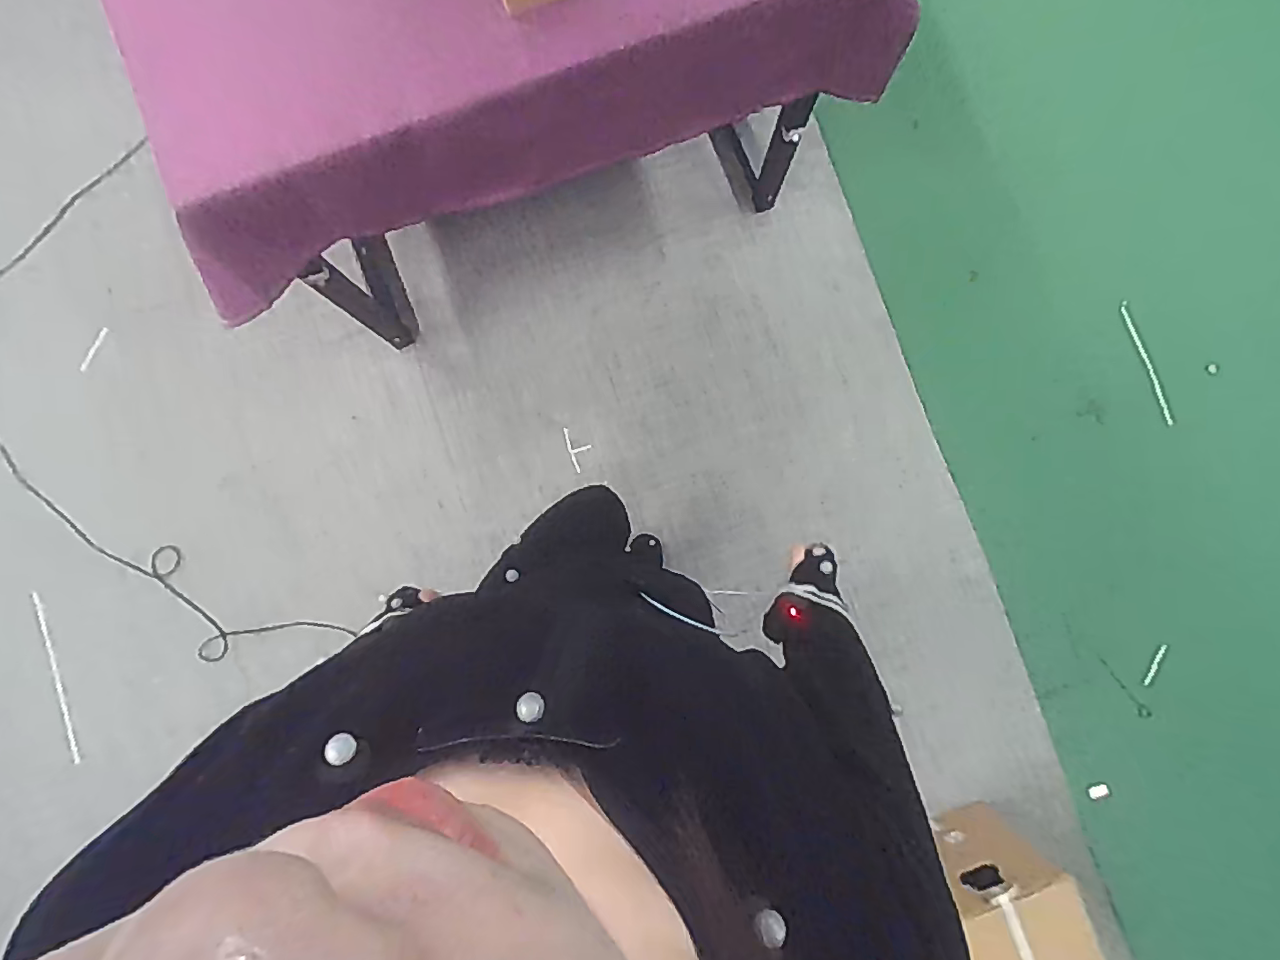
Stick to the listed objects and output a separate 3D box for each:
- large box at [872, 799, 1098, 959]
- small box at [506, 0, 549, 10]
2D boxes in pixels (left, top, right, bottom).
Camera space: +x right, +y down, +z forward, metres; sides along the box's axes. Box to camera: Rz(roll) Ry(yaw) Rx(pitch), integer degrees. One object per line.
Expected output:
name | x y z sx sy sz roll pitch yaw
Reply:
large box | 0.828 1.080 1.293 0.320 0.320 0.408 -19 87 -2
small box | -0.148 -0.849 0.784 0.179 0.176 0.168 -21 85 -2
